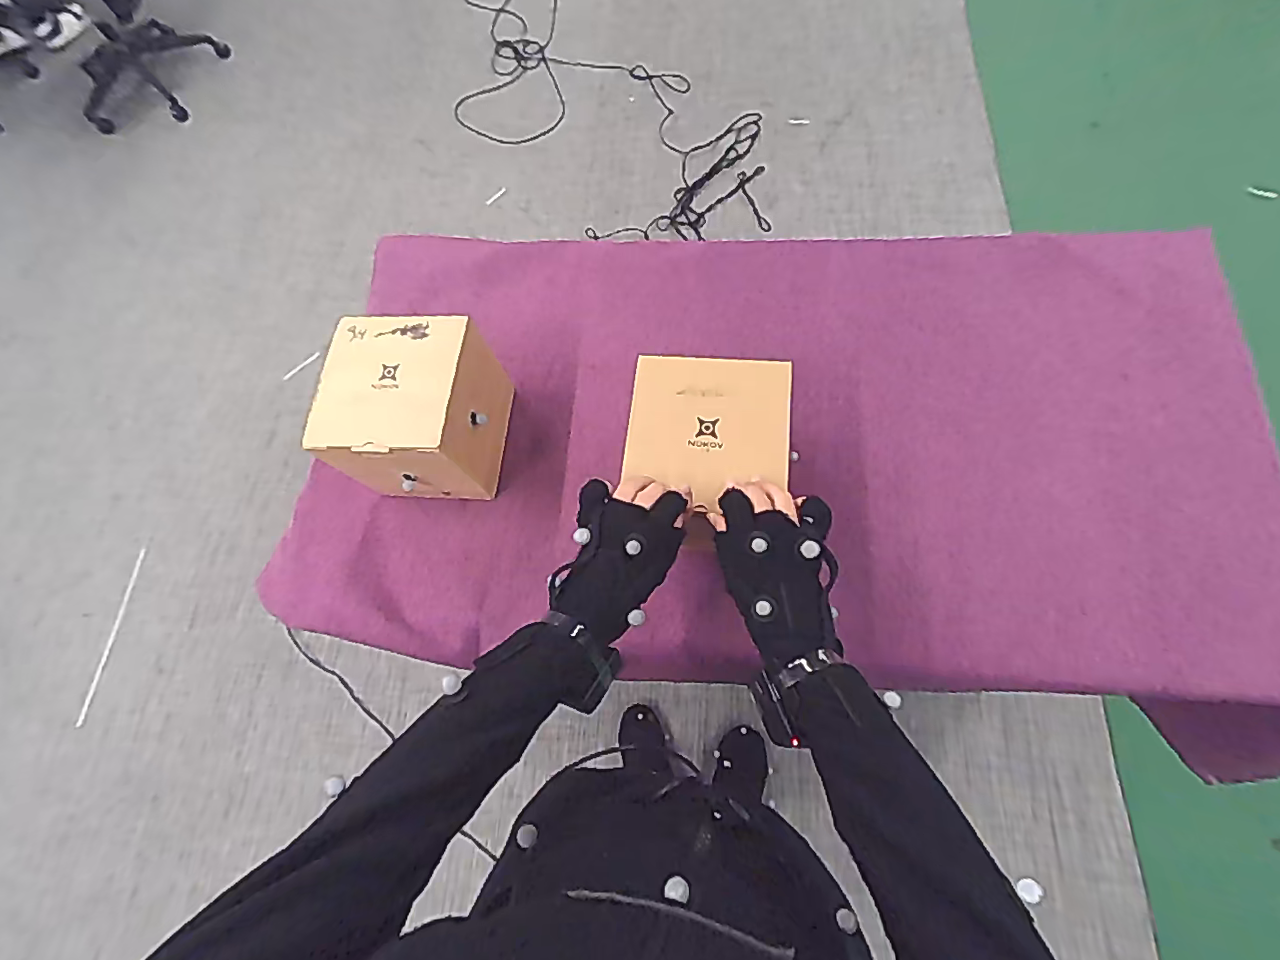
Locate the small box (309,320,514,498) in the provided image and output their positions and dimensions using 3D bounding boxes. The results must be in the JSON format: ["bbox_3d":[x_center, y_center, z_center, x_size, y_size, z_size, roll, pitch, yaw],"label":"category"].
[{"bbox_3d":[-0.274,-0.082,0.692,0.168,0.176,0.179,2,70,7],"label":"small box"}]

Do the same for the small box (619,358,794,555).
[{"bbox_3d":[0.080,-0.019,0.625,0.168,0.176,0.179,5,70,8],"label":"small box"}]
